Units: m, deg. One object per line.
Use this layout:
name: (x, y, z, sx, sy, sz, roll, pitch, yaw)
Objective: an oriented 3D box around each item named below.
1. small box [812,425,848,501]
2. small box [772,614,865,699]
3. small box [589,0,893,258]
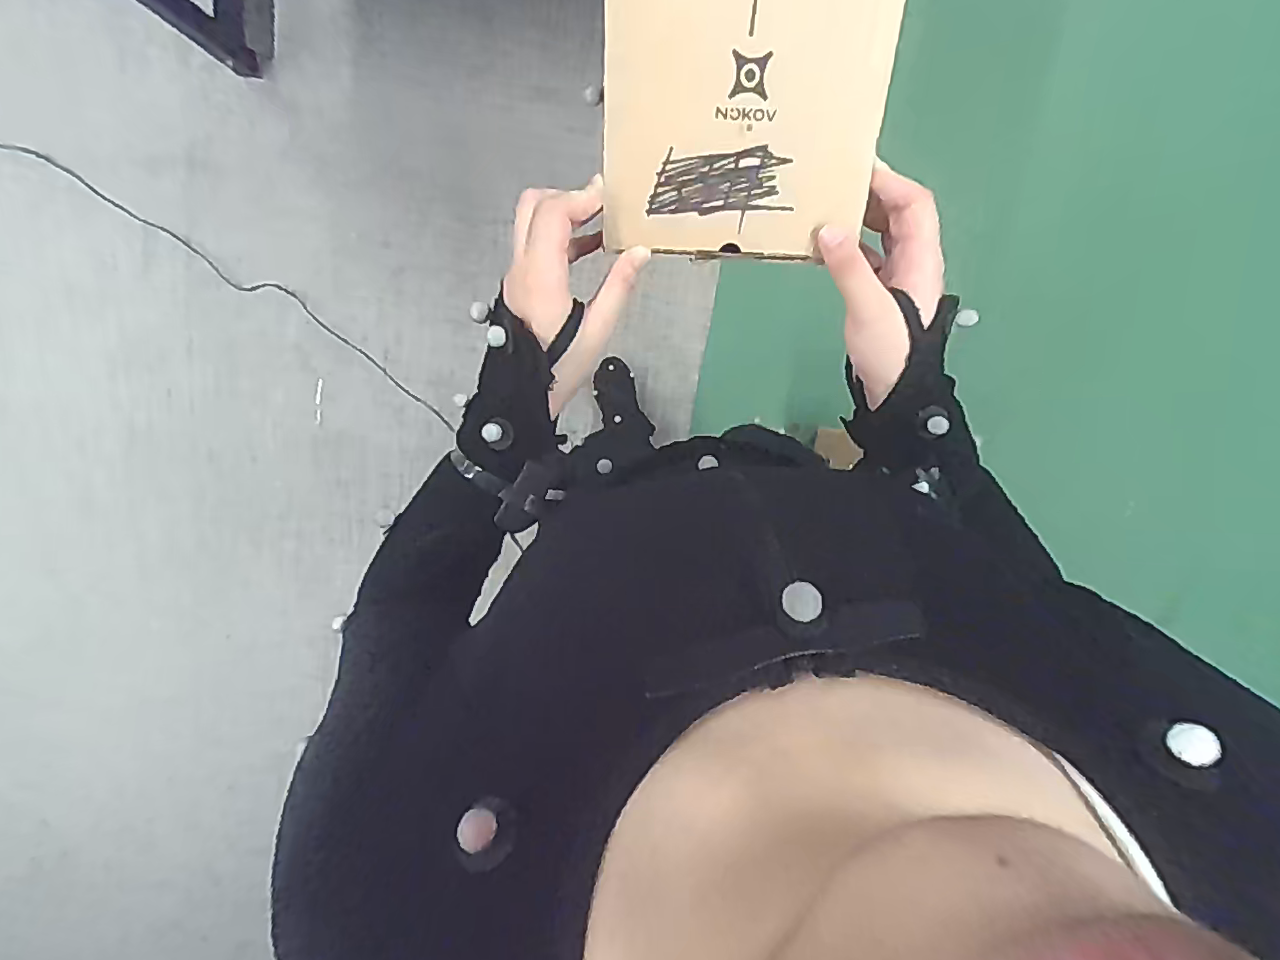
small box: (0.556, -0.042, 1.391, 0.168, 0.176, 0.179, 8, 101, 0)
small box: (0.485, 0.495, 1.504, 0.179, 0.176, 0.168, 16, 101, -4)
small box: (0.052, -0.258, 0.380, 0.168, 0.176, 0.179, 1, 115, -3)
